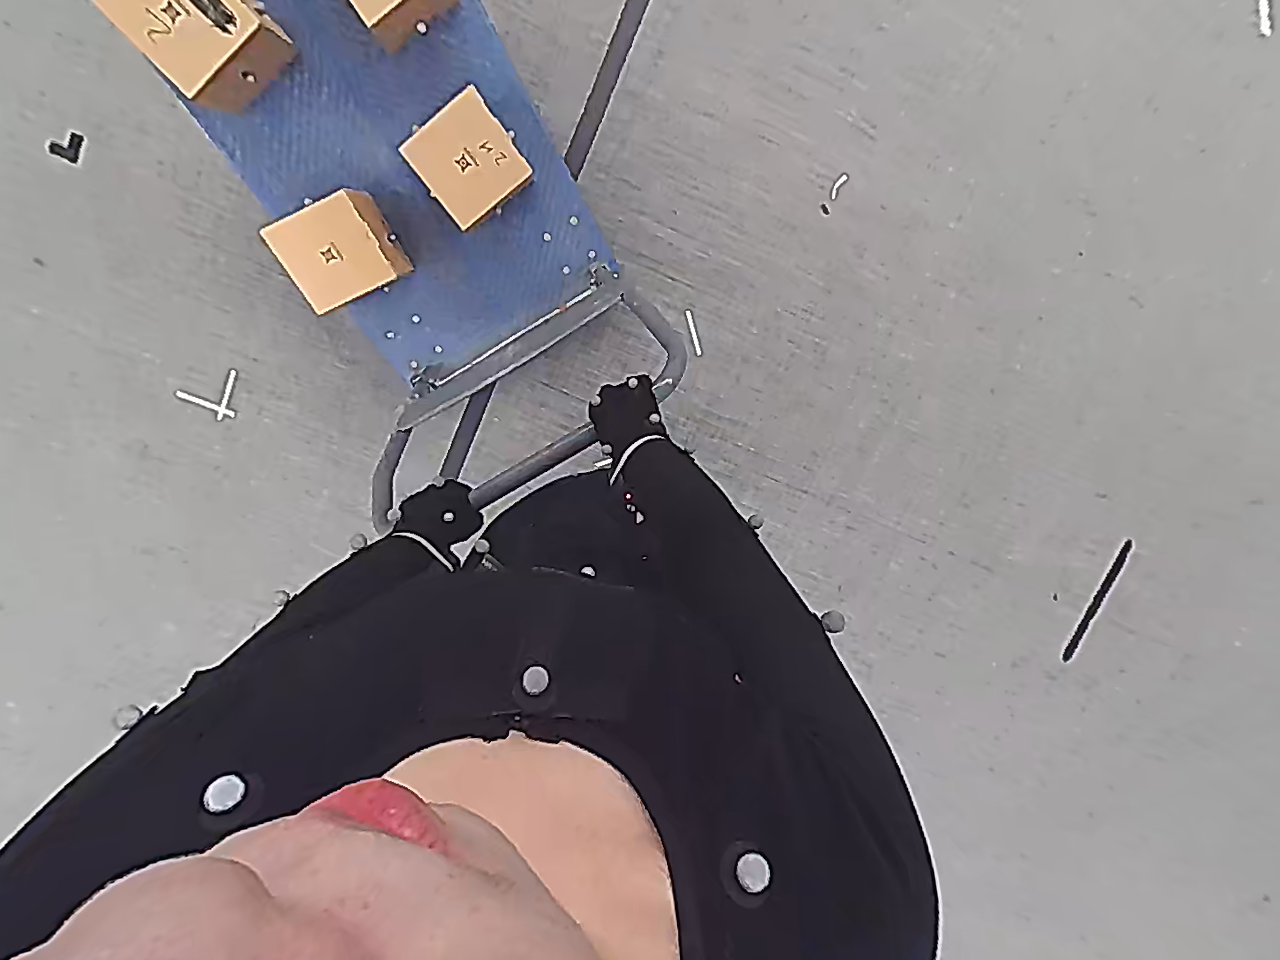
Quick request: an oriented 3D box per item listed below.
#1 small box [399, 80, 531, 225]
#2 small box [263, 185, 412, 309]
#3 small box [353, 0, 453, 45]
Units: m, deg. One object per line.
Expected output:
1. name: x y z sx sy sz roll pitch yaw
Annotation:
1. small box: -0.326 -0.621 1.050 0.179 0.176 0.168 -36 117 7
2. small box: -0.587 -0.461 1.078 0.179 0.176 0.168 -27 117 1
3. small box: -0.435 -0.885 0.902 0.168 0.176 0.179 -33 118 6
